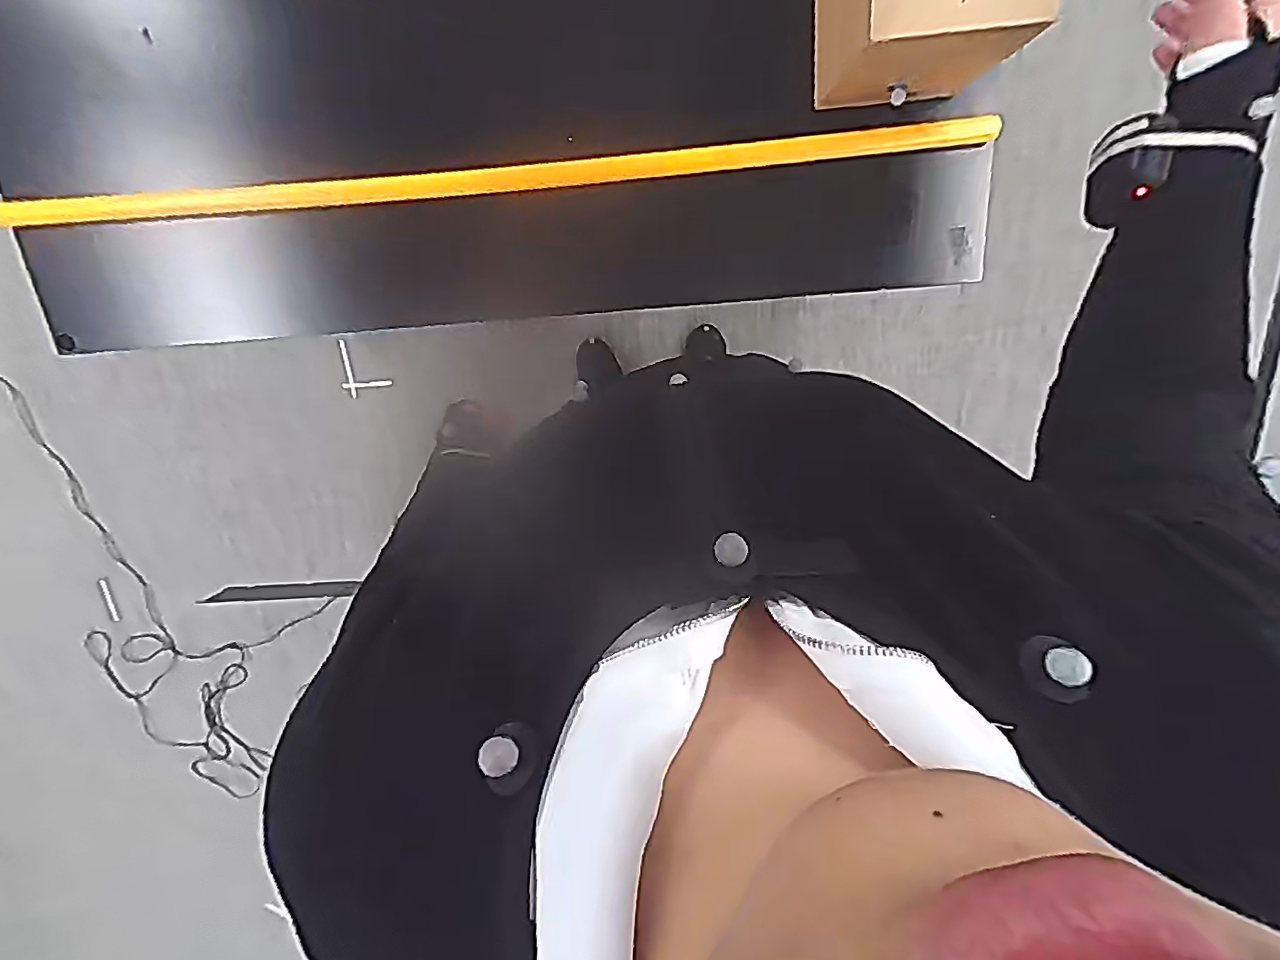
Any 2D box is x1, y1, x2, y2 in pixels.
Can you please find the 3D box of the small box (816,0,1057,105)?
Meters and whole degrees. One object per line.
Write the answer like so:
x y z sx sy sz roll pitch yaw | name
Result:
0.279 -0.507 0.533 0.168 0.176 0.179 -4 107 2 | small box
